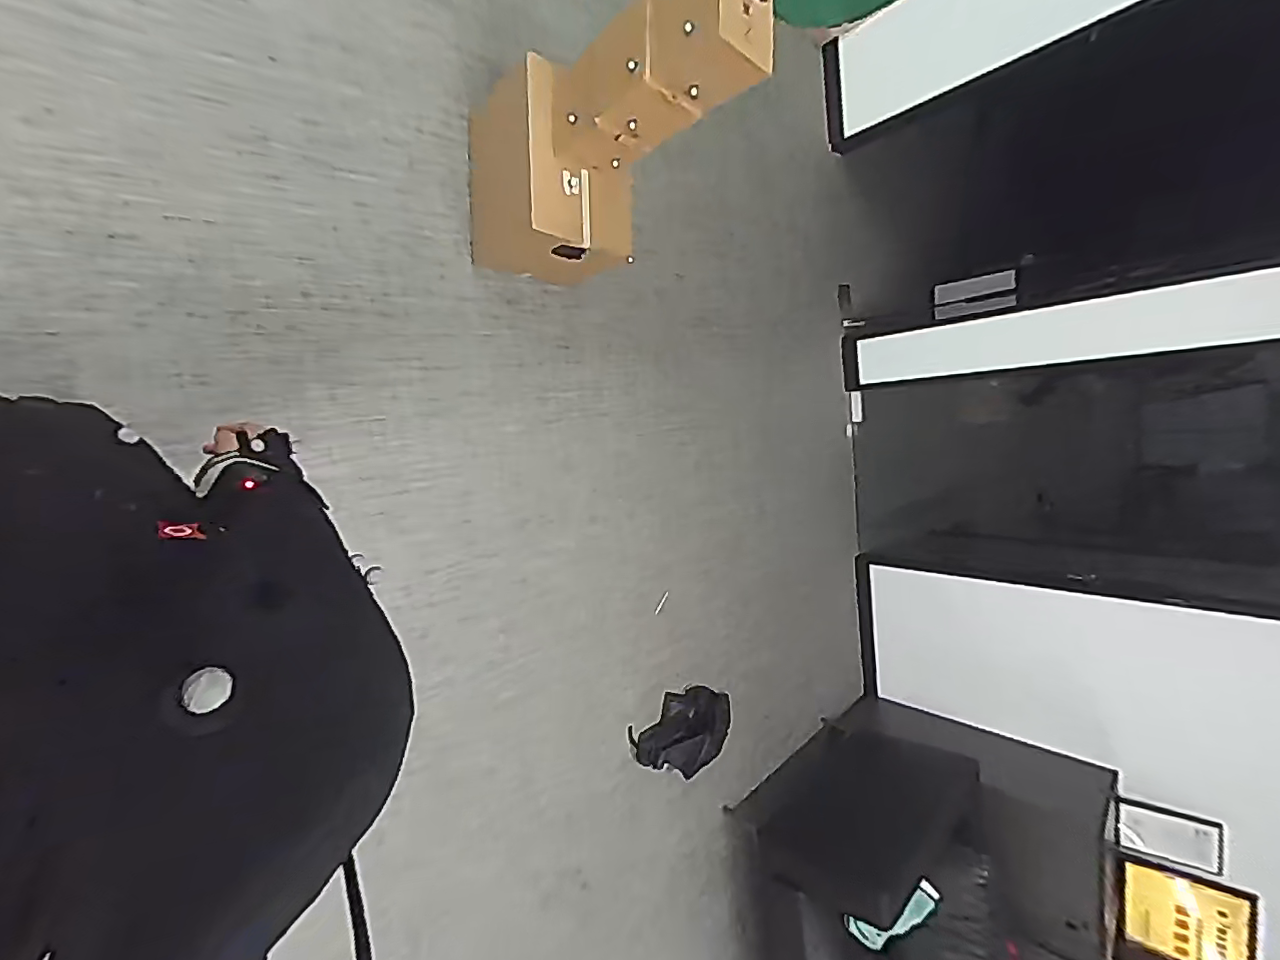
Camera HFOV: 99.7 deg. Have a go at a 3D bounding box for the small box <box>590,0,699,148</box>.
[{"bbox_3d":[0.008,-0.846,1.138,0.168,0.176,0.179,-2,94,-44],"label":"small box"}]

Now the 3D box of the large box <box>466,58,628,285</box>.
[{"bbox_3d":[-0.251,-0.784,1.453,0.320,0.320,0.408,-5,96,-42],"label":"large box"}]

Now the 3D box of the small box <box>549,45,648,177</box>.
[{"bbox_3d":[-0.098,-0.845,1.262,0.168,0.176,0.179,-5,94,-44],"label":"small box"}]
